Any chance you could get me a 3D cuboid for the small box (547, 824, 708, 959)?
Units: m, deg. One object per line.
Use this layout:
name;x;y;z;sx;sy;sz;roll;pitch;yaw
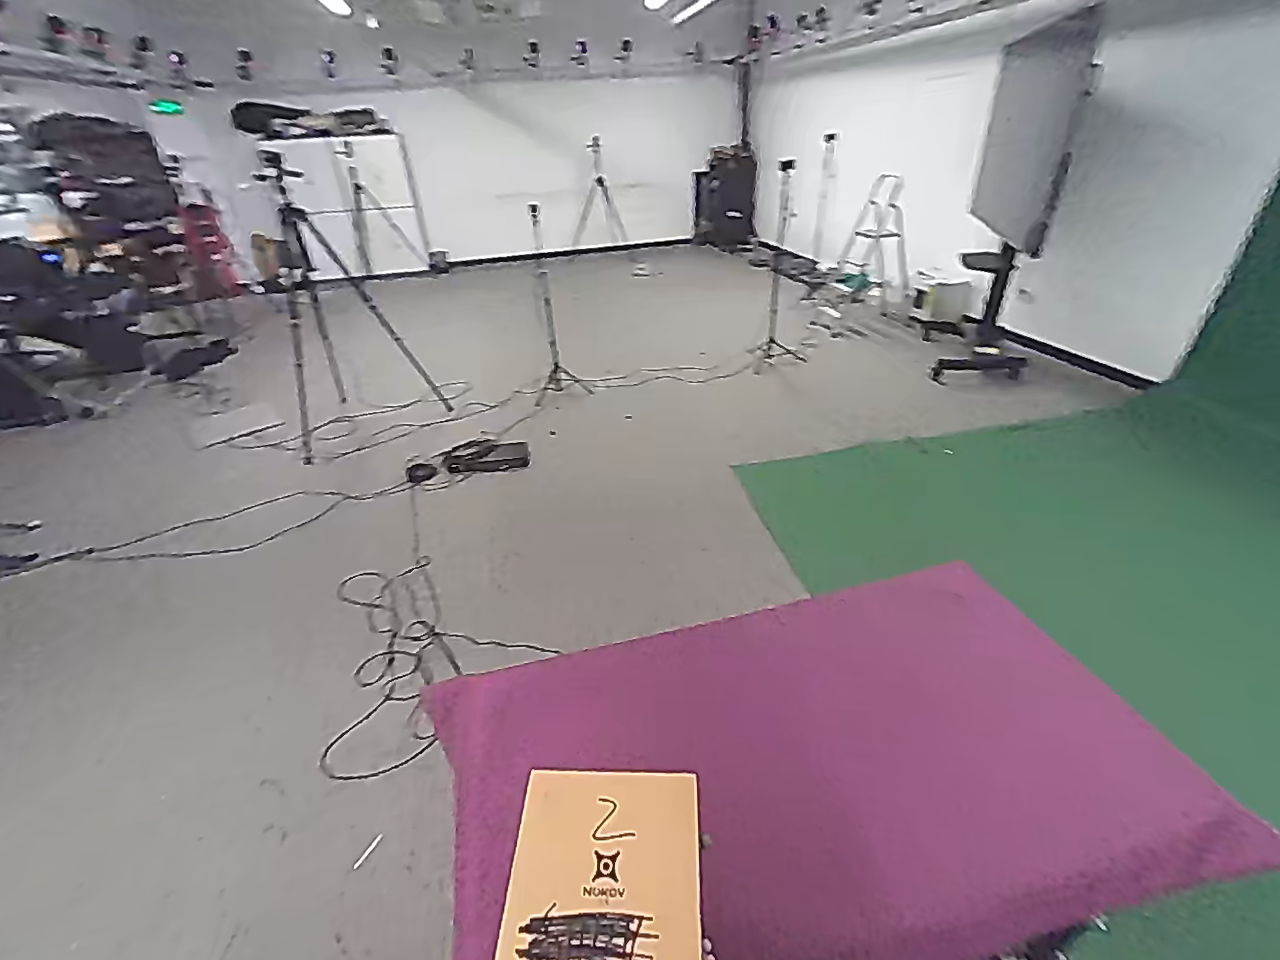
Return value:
small box;-0.006;0.527;0.624;0.168;0.176;0.179;0;40;5
